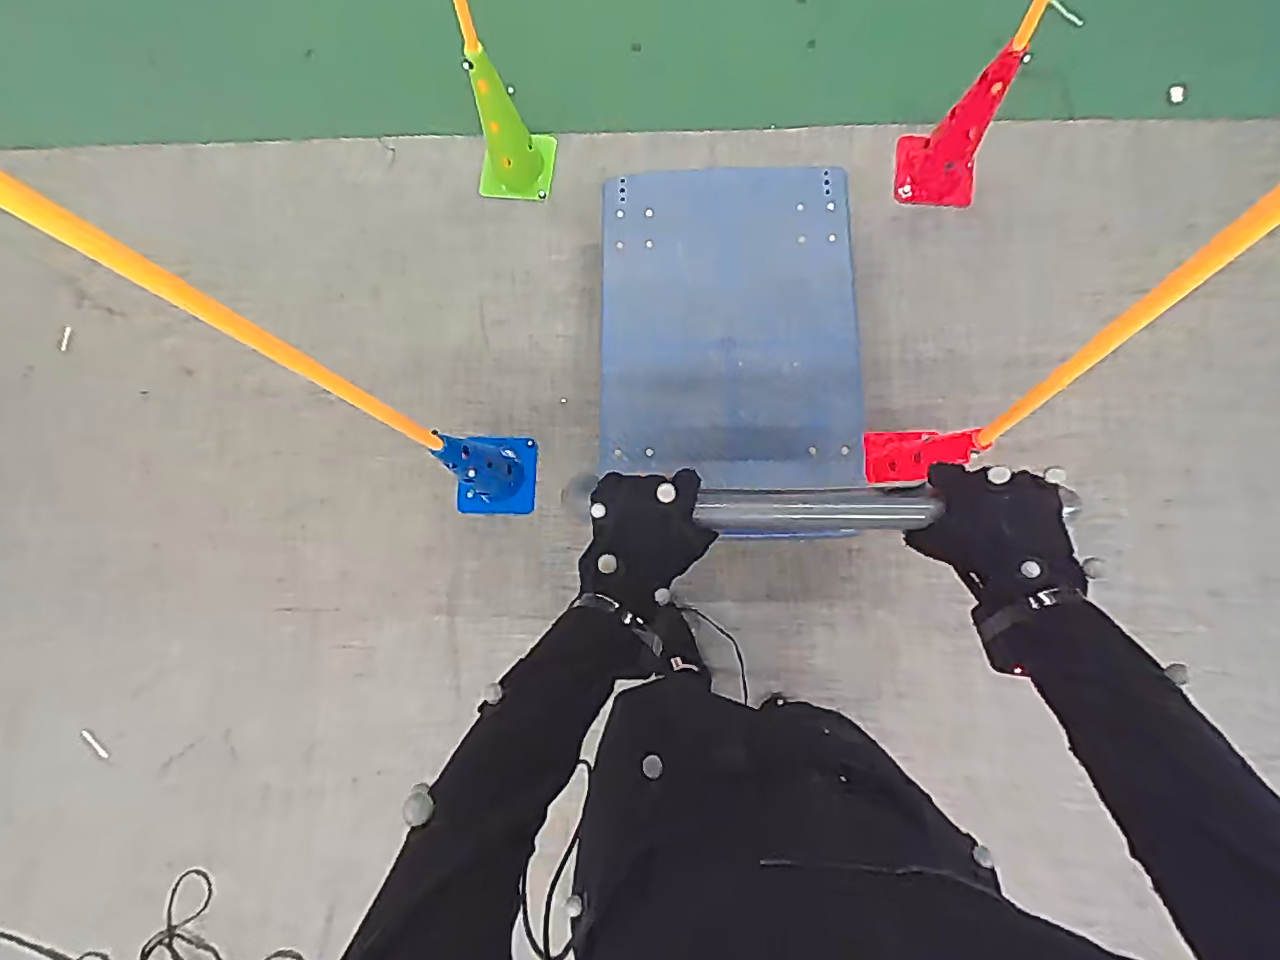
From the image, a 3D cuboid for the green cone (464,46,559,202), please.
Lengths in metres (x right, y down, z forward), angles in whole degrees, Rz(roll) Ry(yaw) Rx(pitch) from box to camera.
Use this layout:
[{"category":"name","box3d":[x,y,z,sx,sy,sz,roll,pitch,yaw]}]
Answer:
[{"category":"green cone","box3d":[-0.348,-0.907,1.358,0.202,0.368,0.200,6,81,5]}]

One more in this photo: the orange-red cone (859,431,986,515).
[{"category":"orange-red cone","box3d":[0.629,-0.041,1.165,0.199,0.360,0.198,1,80,5]}]
